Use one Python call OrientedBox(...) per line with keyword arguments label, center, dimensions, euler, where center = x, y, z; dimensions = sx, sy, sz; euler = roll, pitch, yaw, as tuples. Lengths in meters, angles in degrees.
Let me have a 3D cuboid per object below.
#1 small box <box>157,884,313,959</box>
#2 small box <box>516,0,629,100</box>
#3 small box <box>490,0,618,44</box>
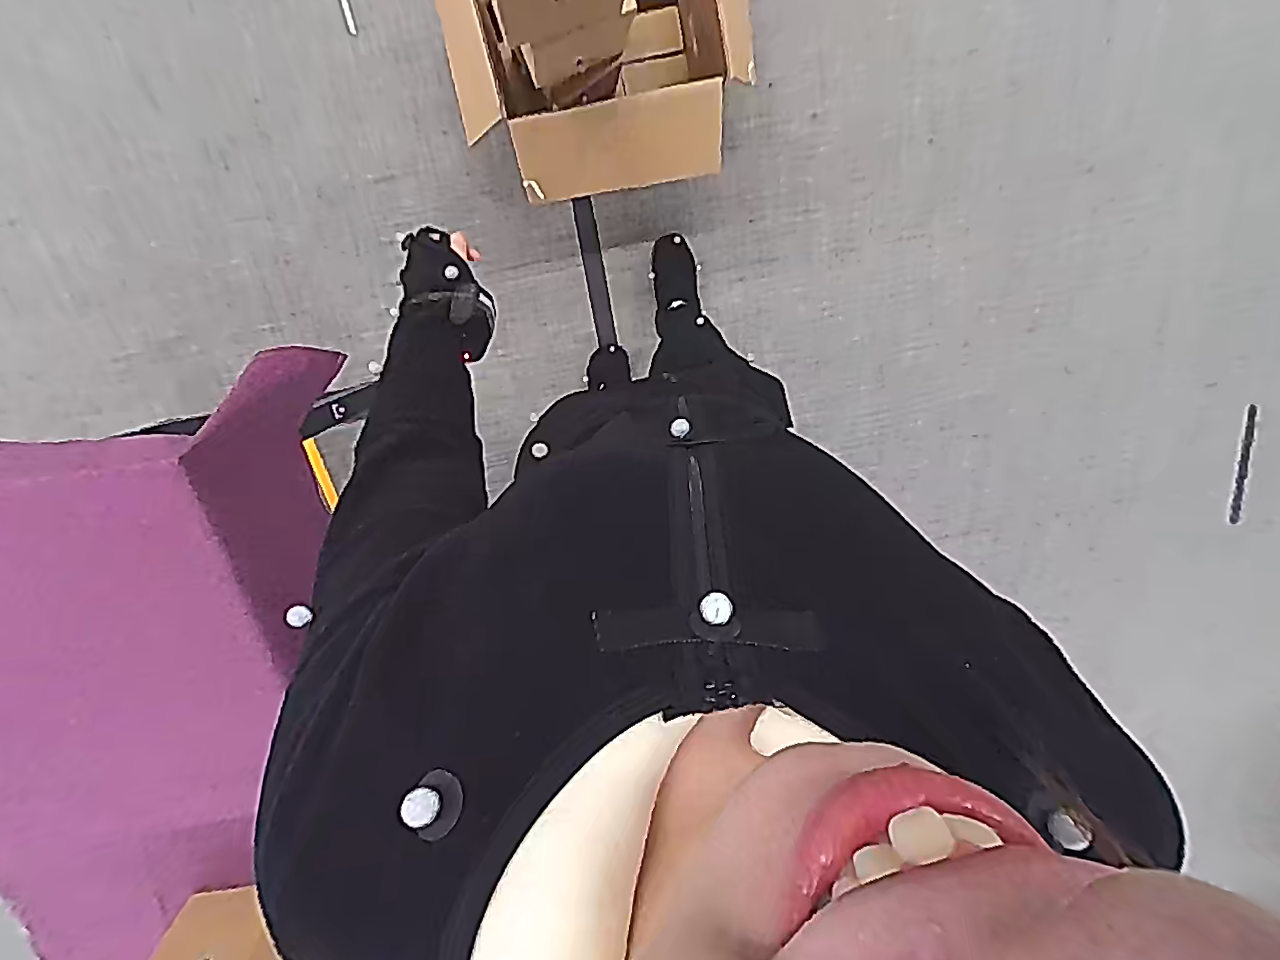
OrientedBox(label="small box", center=(-0.680, 0.814, 0.898), dimensions=(0.179, 0.176, 0.168), euler=(-7, 109, -1))
OrientedBox(label="small box", center=(-0.140, -0.822, 0.959), dimensions=(0.179, 0.176, 0.168), euler=(-32, 111, 4))
OrientedBox(label="small box", center=(-0.121, -0.678, 0.662), dimensions=(0.179, 0.176, 0.168), euler=(-19, 113, -1))
